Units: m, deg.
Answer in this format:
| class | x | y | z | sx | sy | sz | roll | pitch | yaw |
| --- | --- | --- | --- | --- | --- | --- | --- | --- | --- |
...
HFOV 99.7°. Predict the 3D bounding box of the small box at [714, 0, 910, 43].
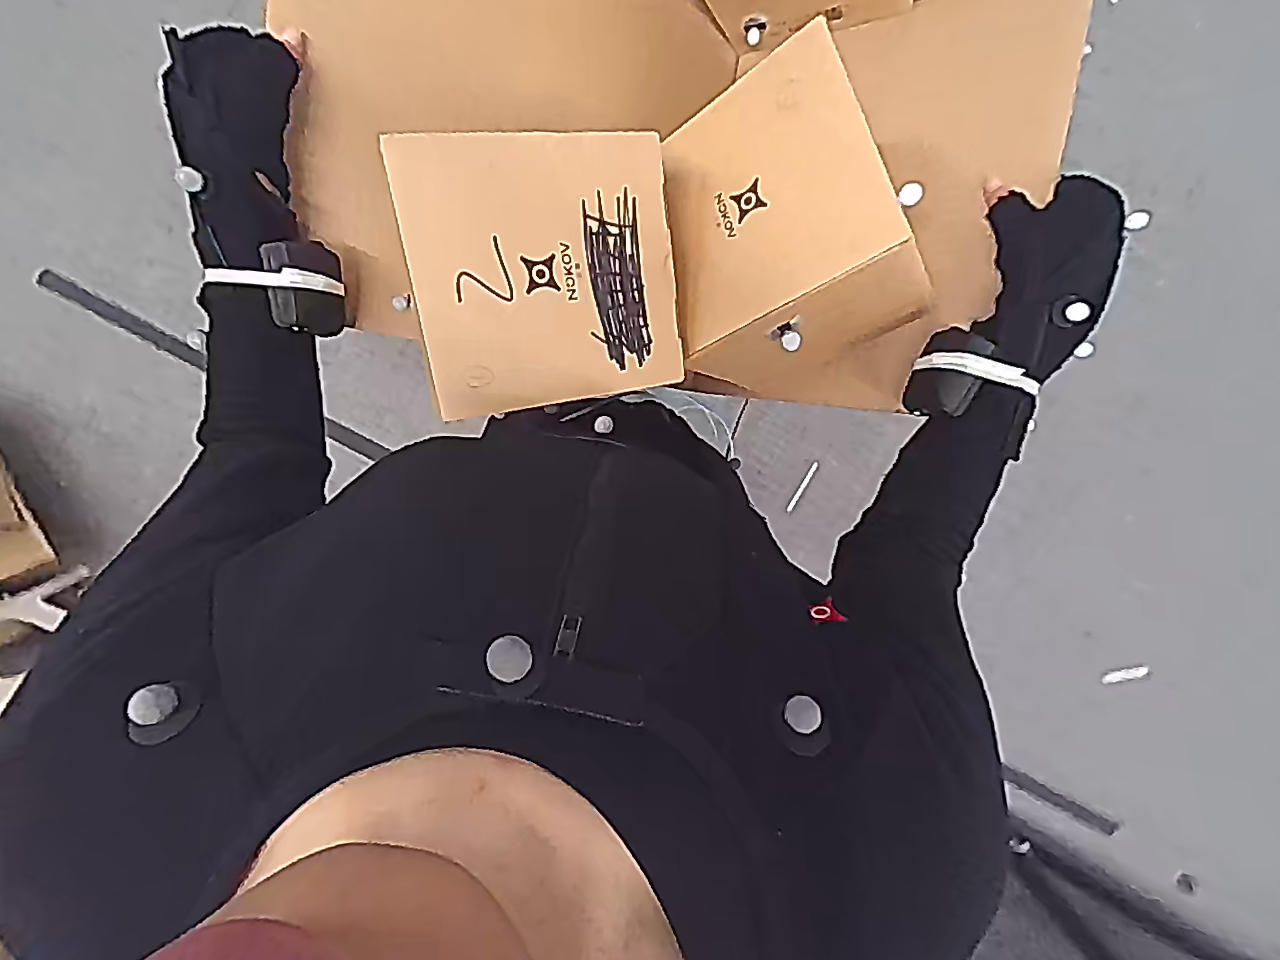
| class | x | y | z | sx | sy | sz | roll | pitch | yaw |
| --- | --- | --- | --- | --- | --- | --- | --- | --- | --- |
| small box | 0.142 | -0.502 | 0.438 | 0.168 | 0.176 | 0.179 | 15 | 95 | 33 |
